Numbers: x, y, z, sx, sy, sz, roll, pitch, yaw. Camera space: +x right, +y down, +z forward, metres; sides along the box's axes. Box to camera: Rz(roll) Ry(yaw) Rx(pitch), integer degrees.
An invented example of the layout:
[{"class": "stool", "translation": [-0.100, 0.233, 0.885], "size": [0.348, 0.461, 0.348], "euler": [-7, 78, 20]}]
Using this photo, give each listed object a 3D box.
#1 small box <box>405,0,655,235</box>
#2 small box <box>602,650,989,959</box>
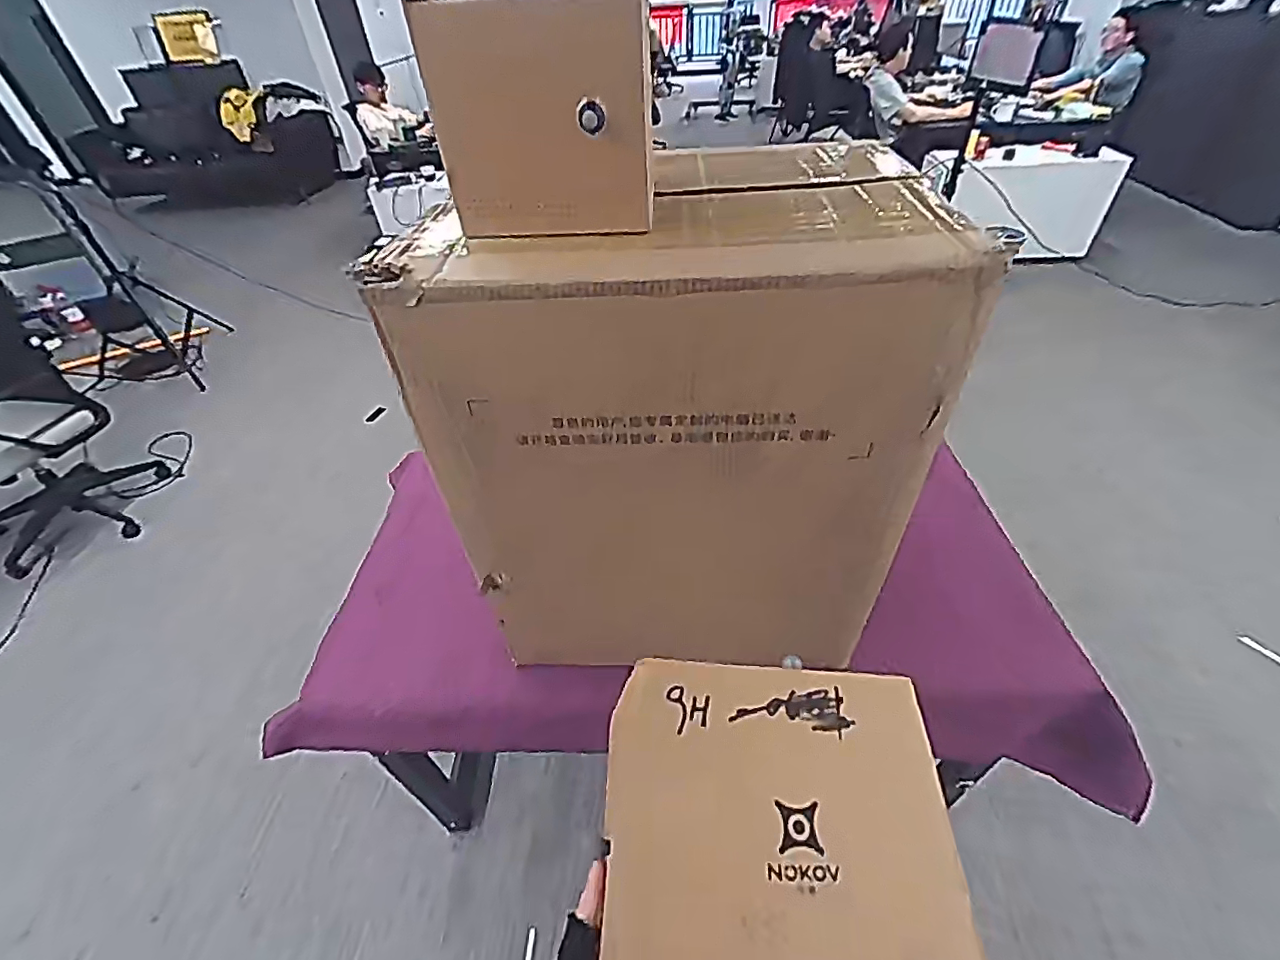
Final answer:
[{"class": "small box", "translation": [-0.075, -0.338, 0.493], "size": [0.179, 0.176, 0.168], "euler": [-1, 42, 4]}, {"class": "small box", "translation": [0.068, 0.218, 0.327], "size": [0.168, 0.176, 0.179], "euler": [6, 56, -6]}]
